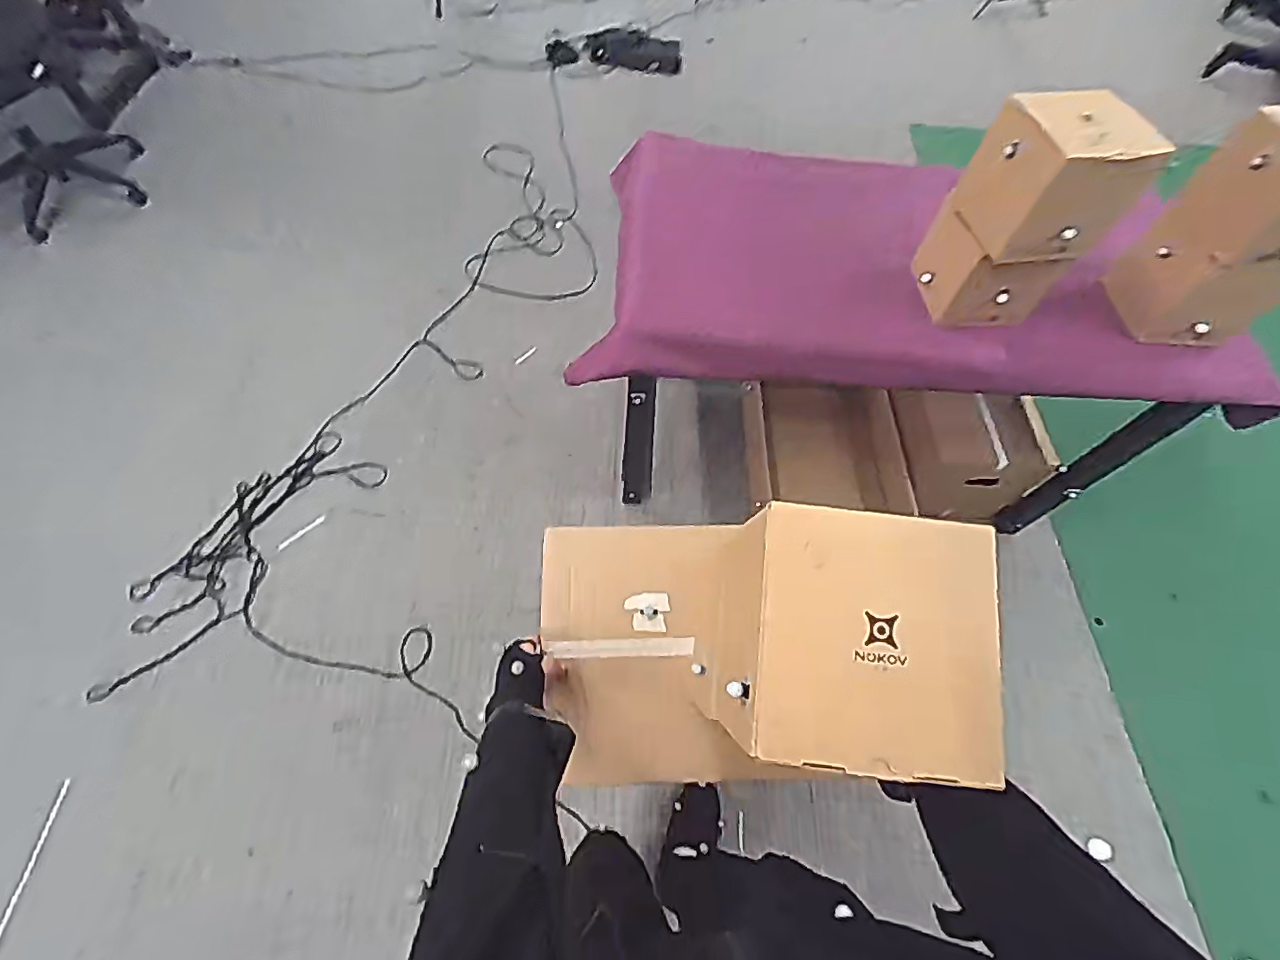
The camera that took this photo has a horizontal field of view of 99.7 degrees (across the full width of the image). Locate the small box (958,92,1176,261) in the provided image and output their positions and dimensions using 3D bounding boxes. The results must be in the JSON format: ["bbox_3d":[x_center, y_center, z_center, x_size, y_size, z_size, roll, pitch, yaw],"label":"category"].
[{"bbox_3d":[0.638,-0.467,0.840,0.168,0.176,0.179,-5,60,-5],"label":"small box"}]

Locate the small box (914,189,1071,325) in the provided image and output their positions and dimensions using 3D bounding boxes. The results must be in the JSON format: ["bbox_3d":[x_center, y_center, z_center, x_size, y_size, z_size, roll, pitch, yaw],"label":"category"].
[{"bbox_3d":[0.639,-0.404,0.995,0.168,0.176,0.179,1,60,-3],"label":"small box"}]

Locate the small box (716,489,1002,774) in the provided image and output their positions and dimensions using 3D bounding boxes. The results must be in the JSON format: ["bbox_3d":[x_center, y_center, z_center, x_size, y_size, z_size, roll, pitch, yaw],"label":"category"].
[{"bbox_3d":[0.161,0.117,0.448,0.168,0.176,0.179,7,77,0],"label":"small box"}]

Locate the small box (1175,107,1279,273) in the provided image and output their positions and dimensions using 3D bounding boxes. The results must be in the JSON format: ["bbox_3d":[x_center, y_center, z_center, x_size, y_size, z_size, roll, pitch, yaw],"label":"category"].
[{"bbox_3d":[1.019,-0.450,0.849,0.168,0.176,0.179,1,59,0],"label":"small box"}]

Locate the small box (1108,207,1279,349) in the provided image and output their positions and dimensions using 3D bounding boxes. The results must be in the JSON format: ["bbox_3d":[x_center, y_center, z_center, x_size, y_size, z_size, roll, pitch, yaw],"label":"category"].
[{"bbox_3d":[1.019,-0.366,0.989,0.168,0.176,0.179,3,60,0],"label":"small box"}]
